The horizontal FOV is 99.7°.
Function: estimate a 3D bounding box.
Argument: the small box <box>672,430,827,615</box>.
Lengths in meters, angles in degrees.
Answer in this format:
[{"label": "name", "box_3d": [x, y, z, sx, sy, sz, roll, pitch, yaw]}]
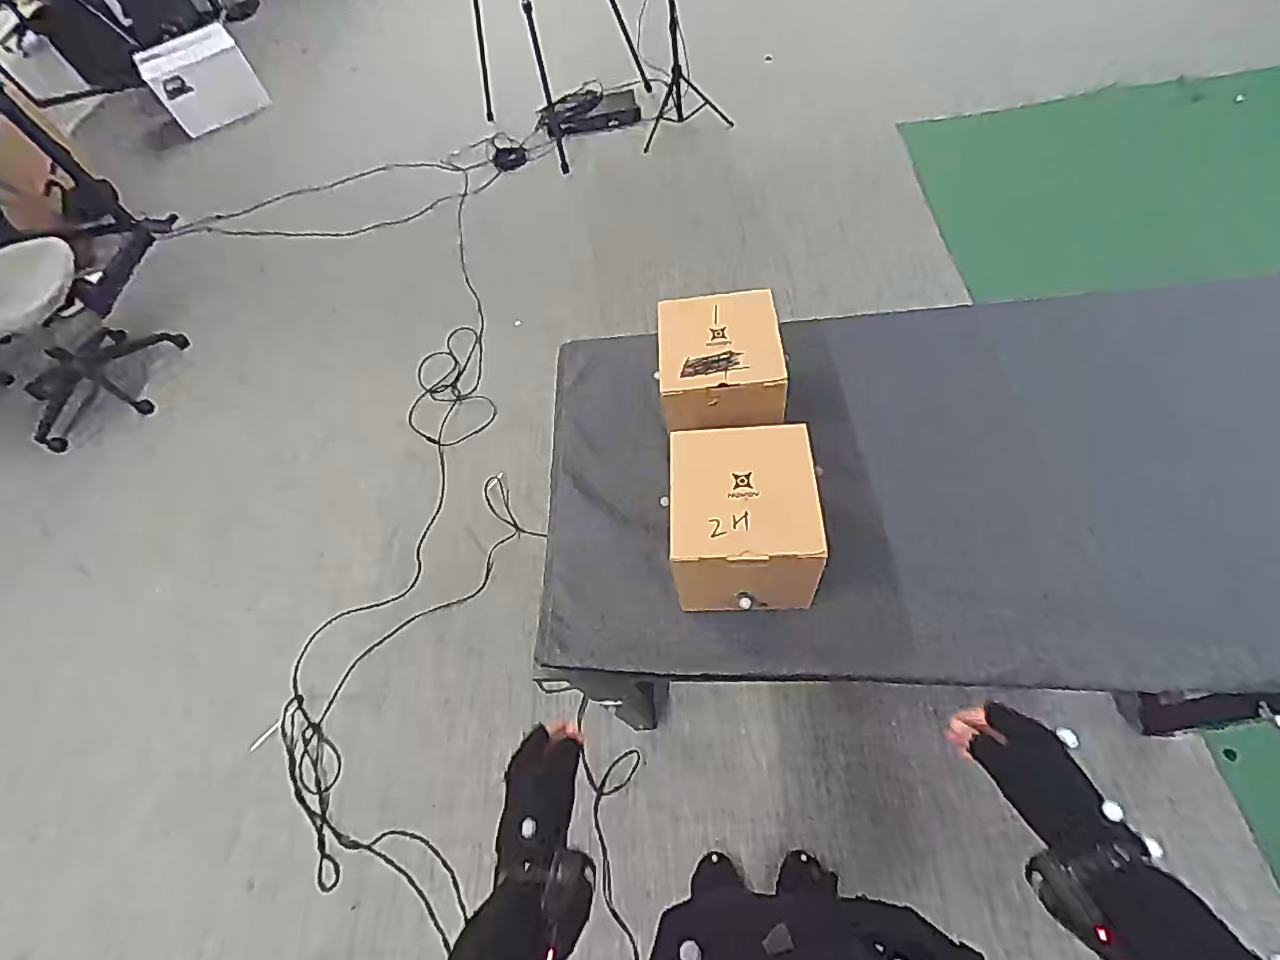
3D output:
[{"label": "small box", "box_3d": [0.128, 0.058, 0.682, 0.168, 0.176, 0.179, -3, 58, 8]}]

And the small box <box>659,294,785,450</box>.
[{"label": "small box", "box_3d": [0.119, -0.144, 0.806, 0.168, 0.176, 0.179, -4, 58, 7]}]
